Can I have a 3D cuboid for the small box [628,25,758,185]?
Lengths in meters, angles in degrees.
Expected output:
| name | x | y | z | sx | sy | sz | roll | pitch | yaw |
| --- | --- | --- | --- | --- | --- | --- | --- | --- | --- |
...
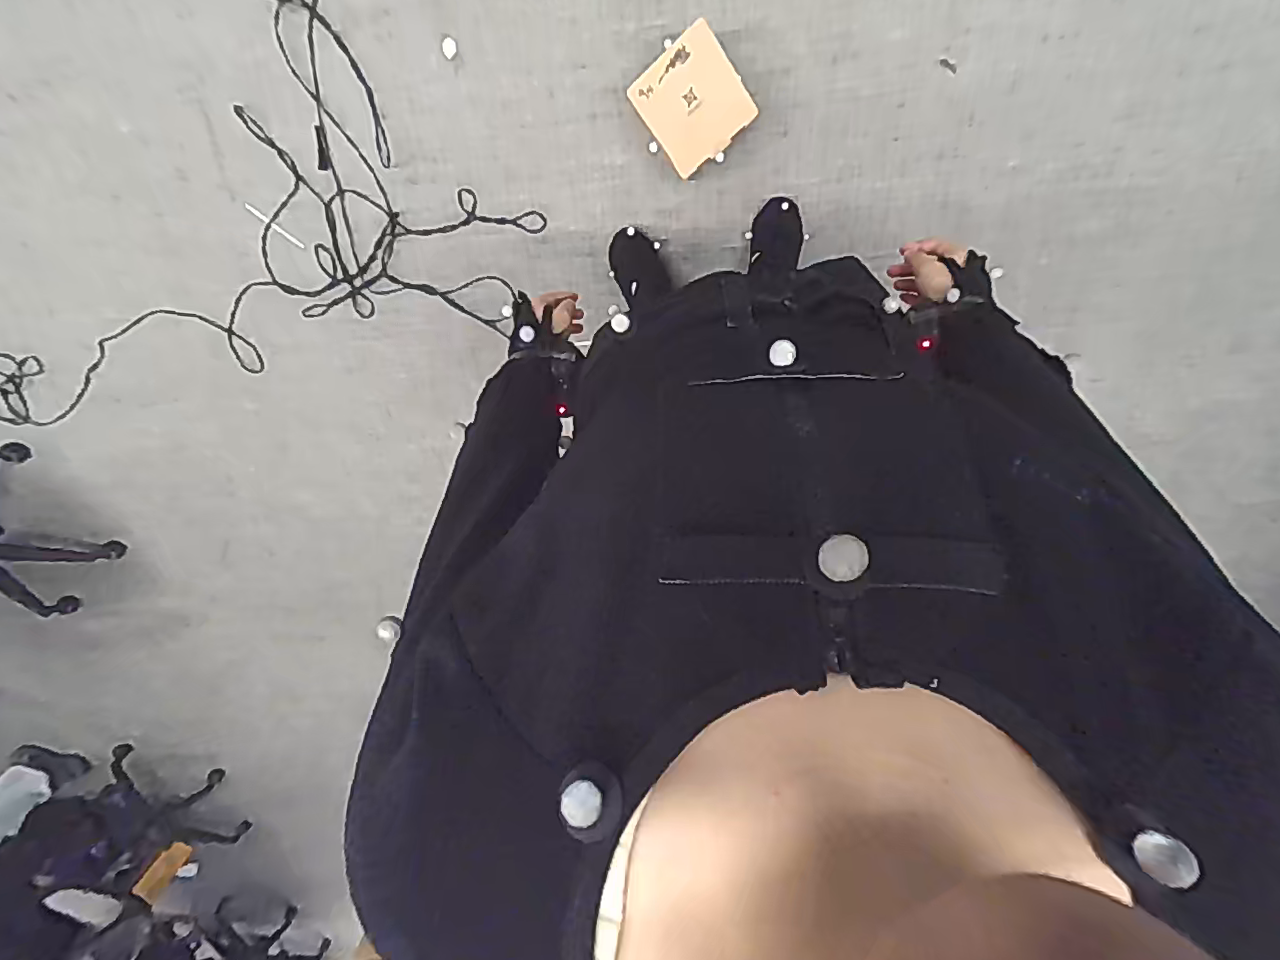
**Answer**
| name | x | y | z | sx | sy | sz | roll | pitch | yaw |
| --- | --- | --- | --- | --- | --- | --- | --- | --- | --- |
| small box | 0.098 | -0.685 | 1.010 | 0.168 | 0.176 | 0.179 | -34 | 110 | 19 |
